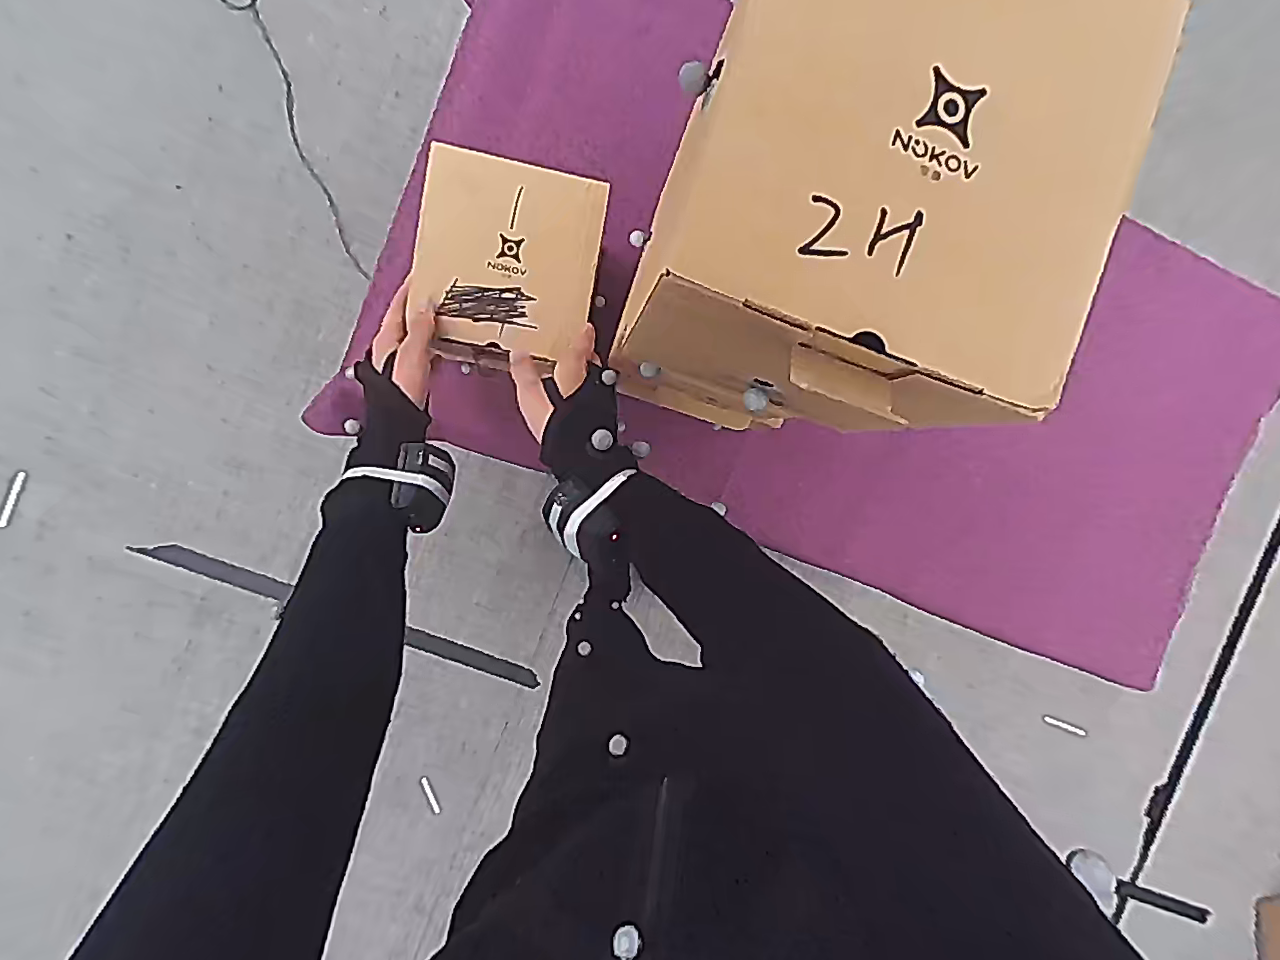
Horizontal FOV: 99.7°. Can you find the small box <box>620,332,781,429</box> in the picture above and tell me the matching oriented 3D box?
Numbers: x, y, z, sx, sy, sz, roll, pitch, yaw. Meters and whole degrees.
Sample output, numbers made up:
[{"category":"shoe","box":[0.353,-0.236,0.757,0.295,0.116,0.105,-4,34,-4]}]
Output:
[{"category":"small box","box":[0.080,-0.164,0.613,0.168,0.176,0.179,18,92,-9]}]

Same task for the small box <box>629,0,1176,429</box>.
[{"category":"small box","box":[0.099,-0.135,0.283,0.168,0.176,0.179,18,92,-8]}]
